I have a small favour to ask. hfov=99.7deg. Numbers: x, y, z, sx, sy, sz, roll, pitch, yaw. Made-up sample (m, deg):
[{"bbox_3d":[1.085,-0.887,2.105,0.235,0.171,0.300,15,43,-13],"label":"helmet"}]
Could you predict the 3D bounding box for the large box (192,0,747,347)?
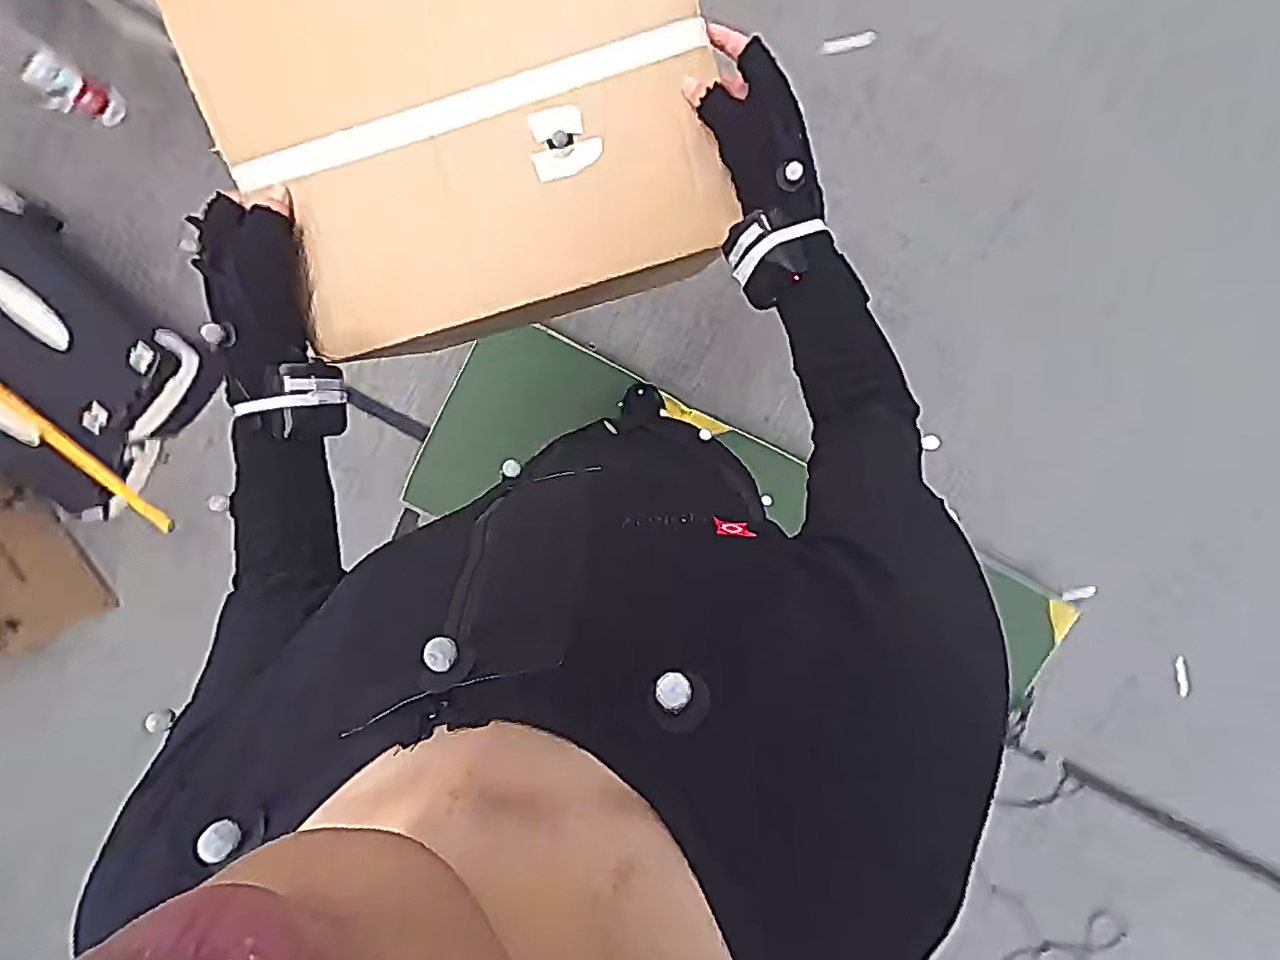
[{"bbox_3d":[-0.141,-0.356,0.601,0.408,0.320,0.320,-16,106,1],"label":"large box"}]
